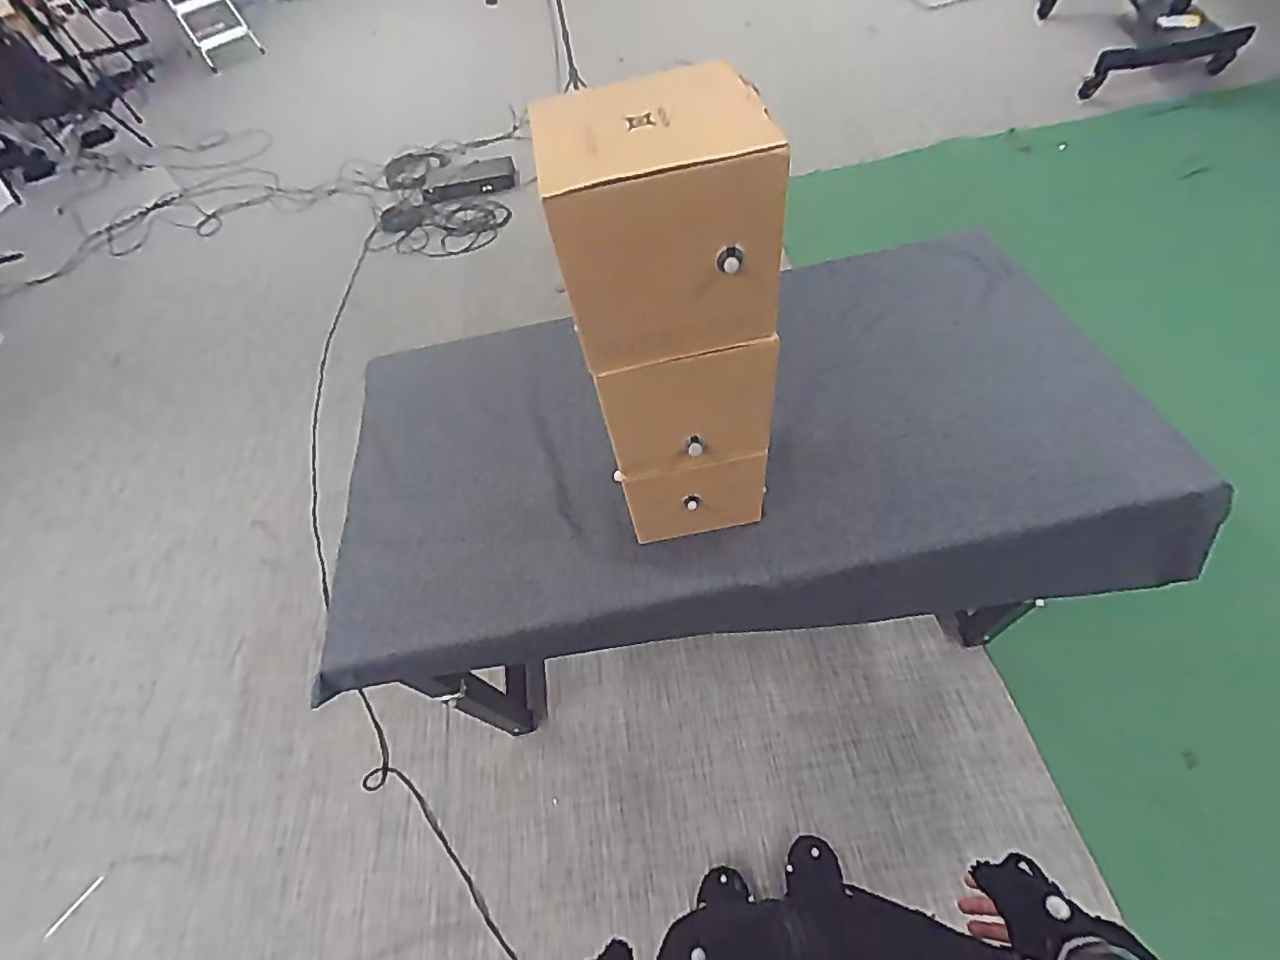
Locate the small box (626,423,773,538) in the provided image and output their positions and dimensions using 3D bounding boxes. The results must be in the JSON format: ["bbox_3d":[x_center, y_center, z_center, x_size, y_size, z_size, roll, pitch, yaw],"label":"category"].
[{"bbox_3d":[0.066,-0.041,0.741,0.179,0.176,0.168,-13,57,-1],"label":"small box"}]

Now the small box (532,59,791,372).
[{"bbox_3d":[0.016,-0.222,0.474,0.179,0.176,0.168,-13,55,2],"label":"small box"}]

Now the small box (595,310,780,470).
[{"bbox_3d":[0.042,-0.132,0.607,0.179,0.176,0.168,-11,56,2],"label":"small box"}]
